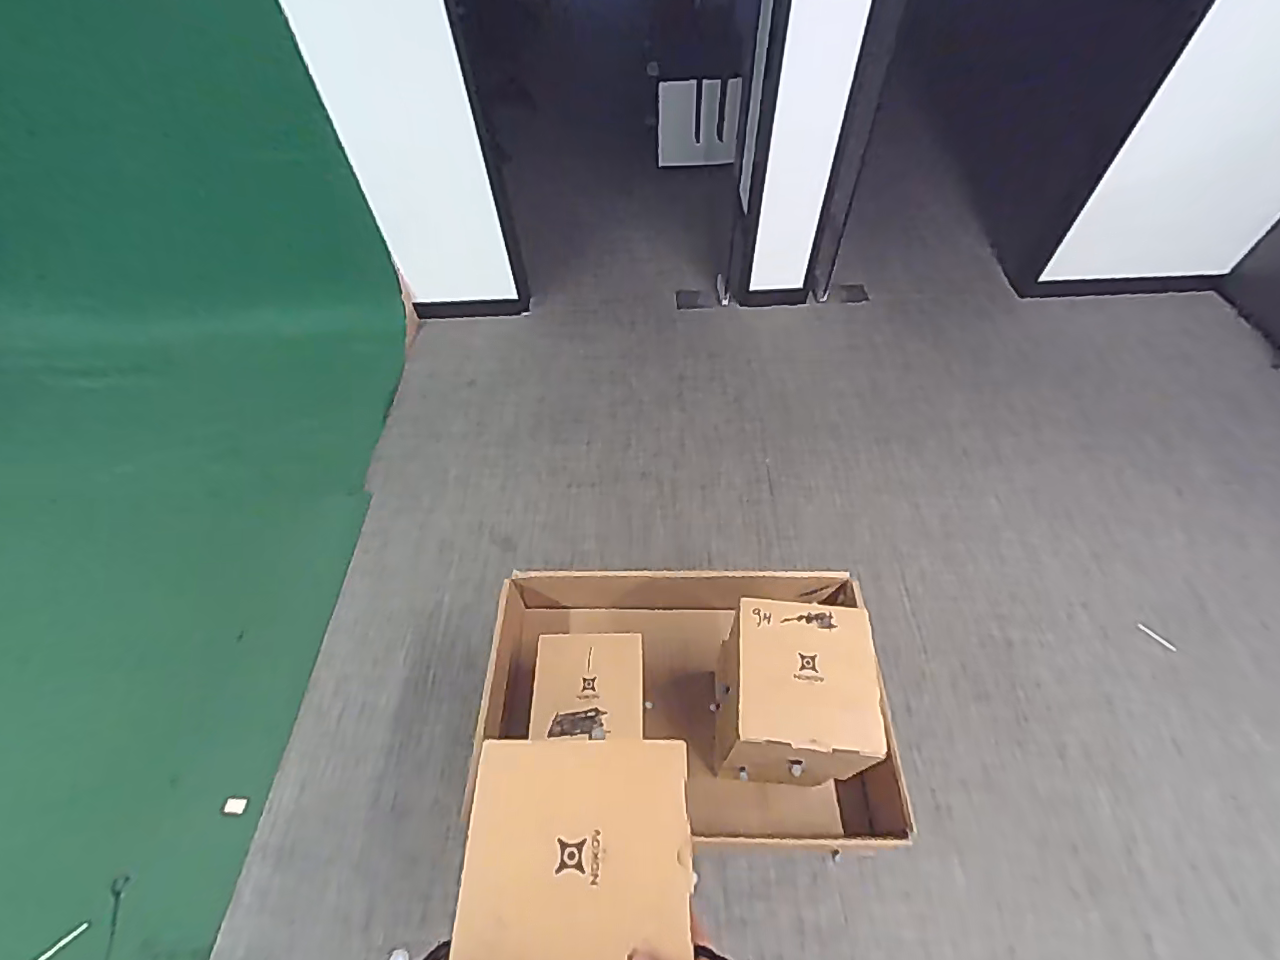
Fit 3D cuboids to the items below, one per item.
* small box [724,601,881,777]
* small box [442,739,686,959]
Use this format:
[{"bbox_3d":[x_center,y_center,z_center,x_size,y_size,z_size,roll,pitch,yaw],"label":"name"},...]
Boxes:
[{"bbox_3d":[0.203,0.281,0.718,0.168,0.176,0.179,5,55,6],"label":"small box"},{"bbox_3d":[-0.050,0.338,0.481,0.179,0.176,0.168,0,53,1],"label":"small box"}]
